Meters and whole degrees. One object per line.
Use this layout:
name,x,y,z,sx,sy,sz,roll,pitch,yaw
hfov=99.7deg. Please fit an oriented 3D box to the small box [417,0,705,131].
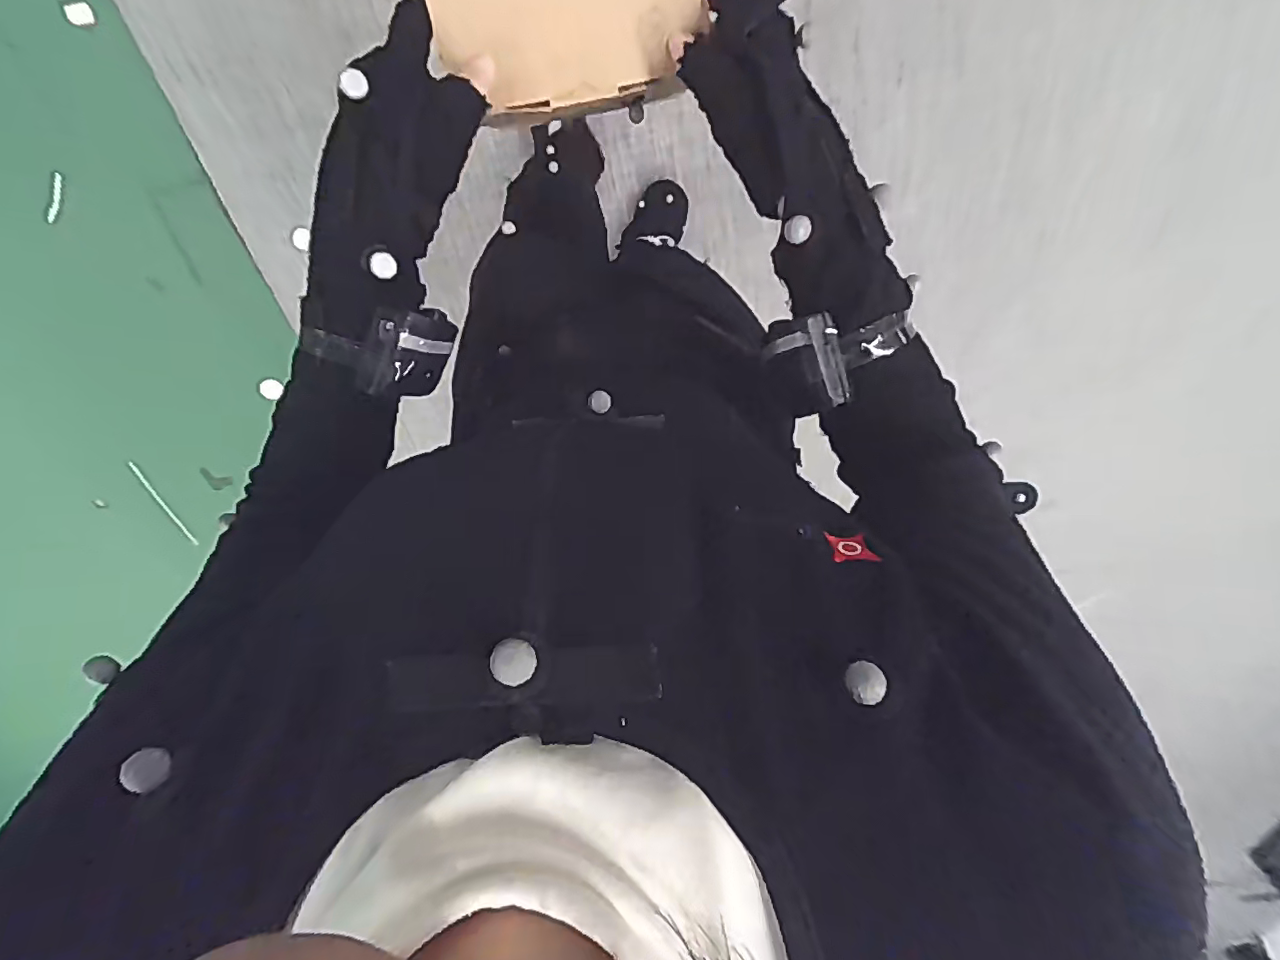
small box,-0.058,-0.355,0.362,0.168,0.176,0.179,-12,122,5
